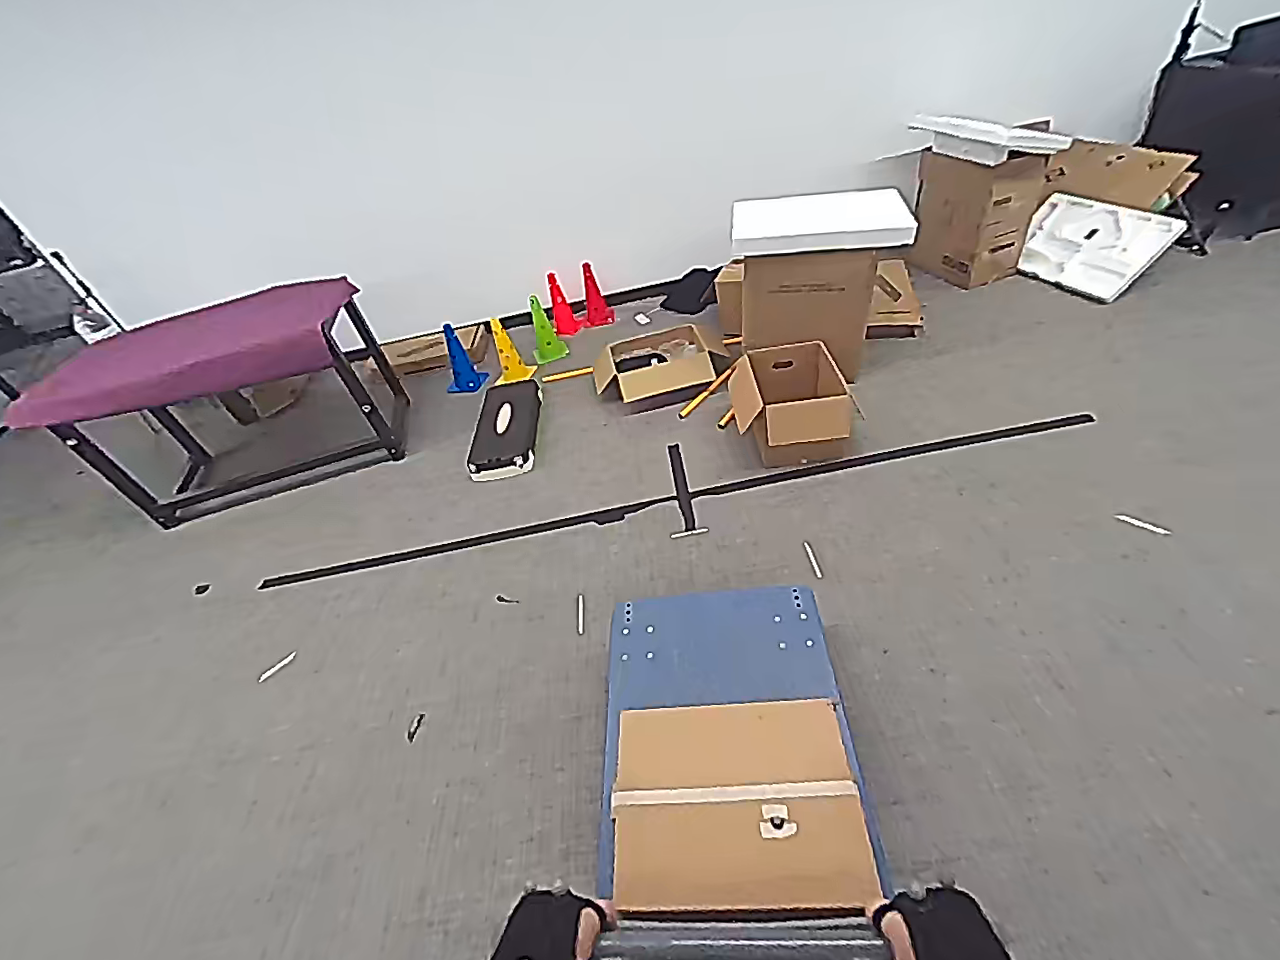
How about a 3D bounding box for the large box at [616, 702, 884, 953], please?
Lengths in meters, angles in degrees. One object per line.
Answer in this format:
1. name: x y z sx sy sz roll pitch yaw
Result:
1. large box: 0.178 0.646 1.003 0.408 0.320 0.320 -6 42 6
